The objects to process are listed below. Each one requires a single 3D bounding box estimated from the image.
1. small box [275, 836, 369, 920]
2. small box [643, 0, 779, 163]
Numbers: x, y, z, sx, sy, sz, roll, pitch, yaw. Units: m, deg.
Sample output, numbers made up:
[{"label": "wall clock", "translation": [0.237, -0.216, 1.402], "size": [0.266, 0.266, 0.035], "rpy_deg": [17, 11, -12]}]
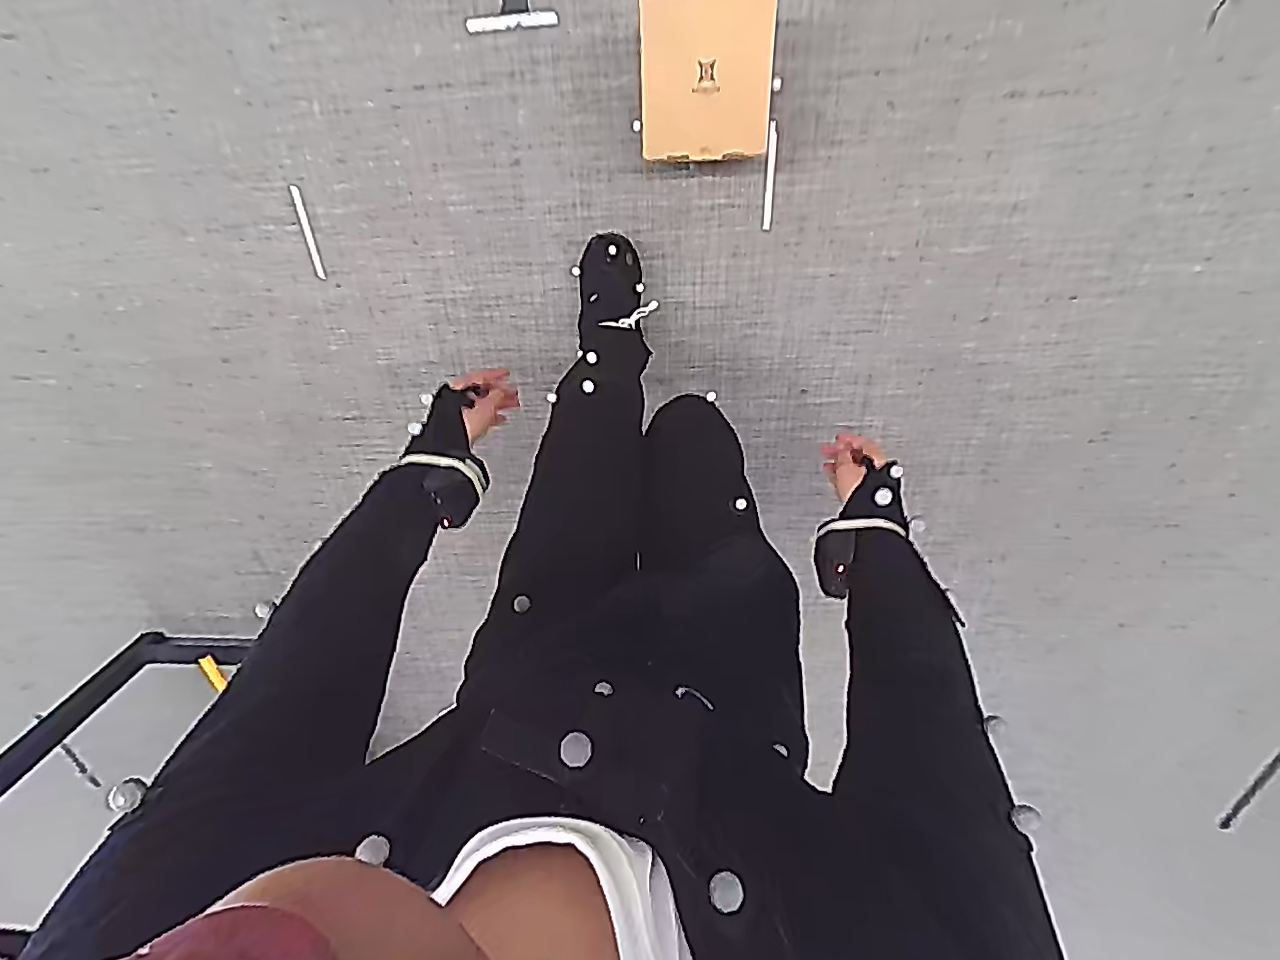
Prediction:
[{"label": "small box", "translation": [-1.007, 1.264, 1.724], "size": [0.179, 0.176, 0.168], "rpy_deg": [-2, 119, 2]}, {"label": "small box", "translation": [0.088, -0.542, 0.744], "size": [0.168, 0.176, 0.179], "rpy_deg": [0, 120, 4]}]
